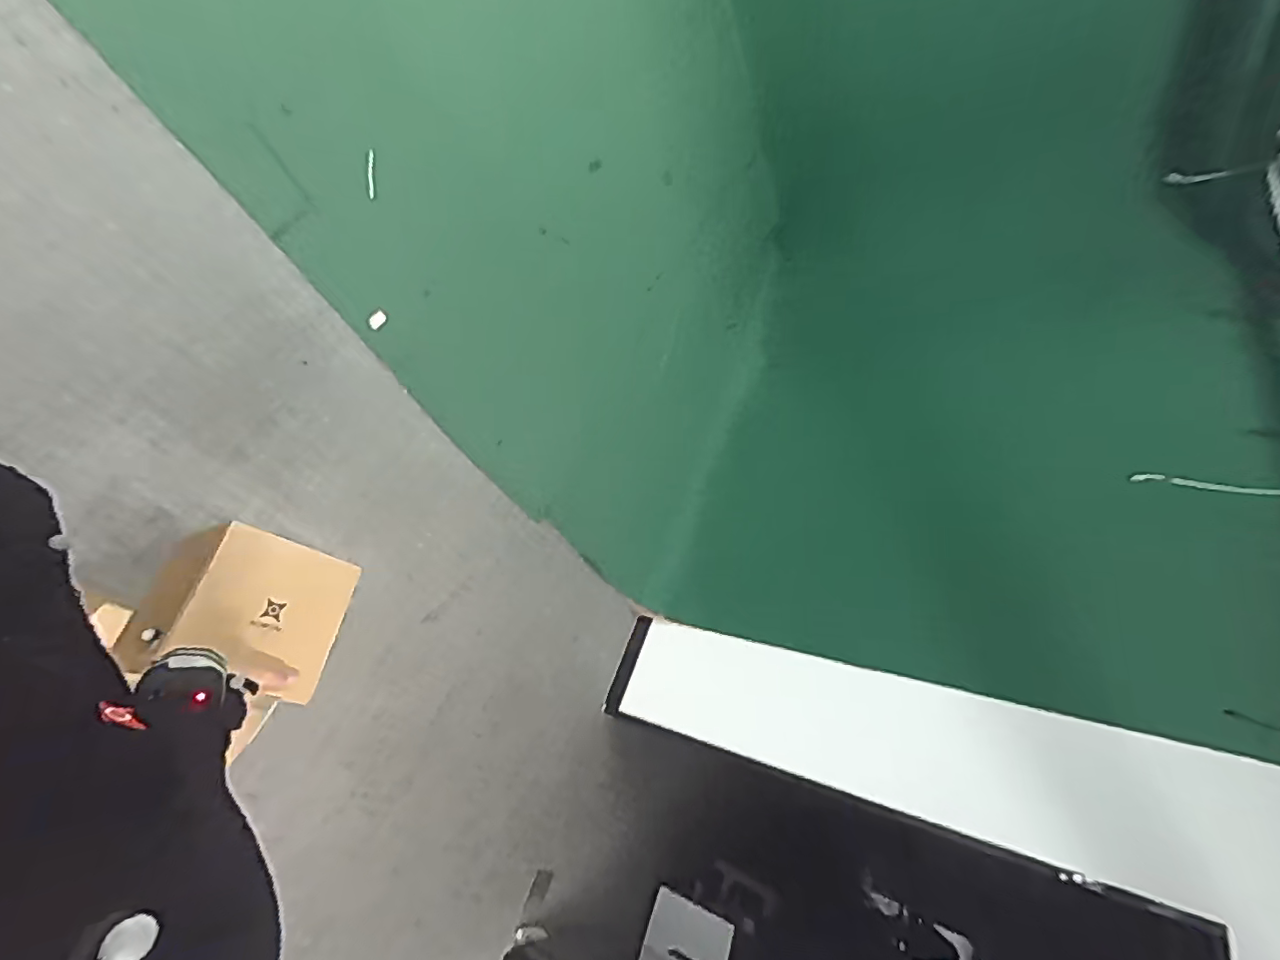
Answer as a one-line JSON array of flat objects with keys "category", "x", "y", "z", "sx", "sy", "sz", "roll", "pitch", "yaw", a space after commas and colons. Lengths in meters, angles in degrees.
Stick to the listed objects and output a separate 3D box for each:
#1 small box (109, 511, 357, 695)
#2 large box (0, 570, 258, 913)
[{"category": "small box", "x": -0.501, "y": 0.157, "z": 0.673, "sx": 0.168, "sy": 0.176, "sz": 0.179, "roll": 40, "pitch": 50, "yaw": -45}, {"category": "large box", "x": -0.959, "y": 0.417, "z": 0.911, "sx": 0.320, "sy": 0.320, "sz": 0.408, "roll": 56, "pitch": 50, "yaw": -44}]
